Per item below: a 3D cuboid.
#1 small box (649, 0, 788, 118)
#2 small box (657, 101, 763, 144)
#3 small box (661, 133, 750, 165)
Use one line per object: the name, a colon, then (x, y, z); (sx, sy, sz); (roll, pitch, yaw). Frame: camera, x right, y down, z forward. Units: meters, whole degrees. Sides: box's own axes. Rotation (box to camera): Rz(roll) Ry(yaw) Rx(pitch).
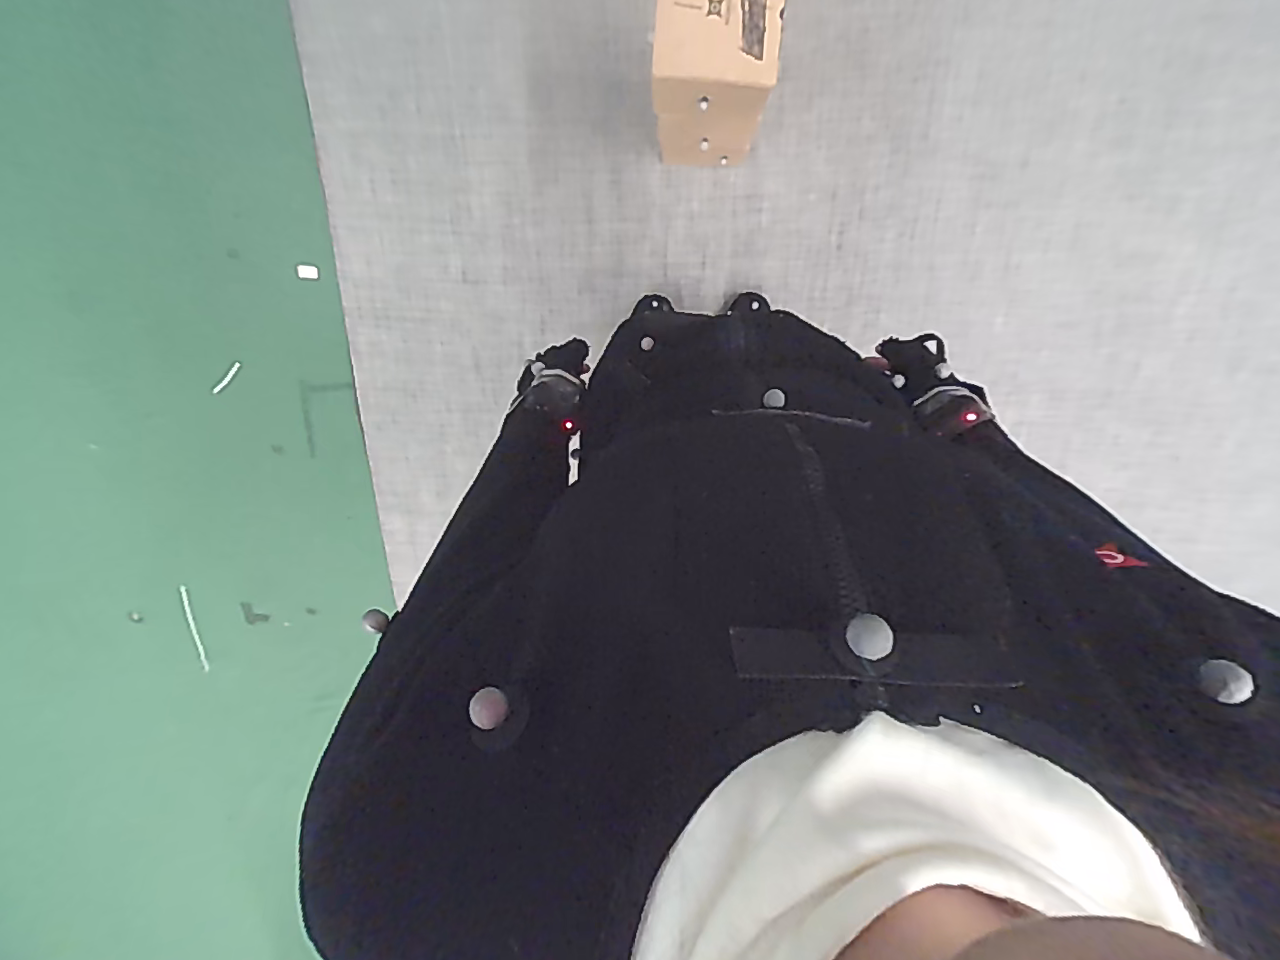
small box: (0.113, -0.660, 0.802); (0.179, 0.176, 0.168); (7, 109, 2)
small box: (0.124, -0.711, 0.958); (0.179, 0.176, 0.168); (4, 109, 1)
small box: (0.135, -0.761, 1.114); (0.179, 0.176, 0.168); (3, 108, 3)
